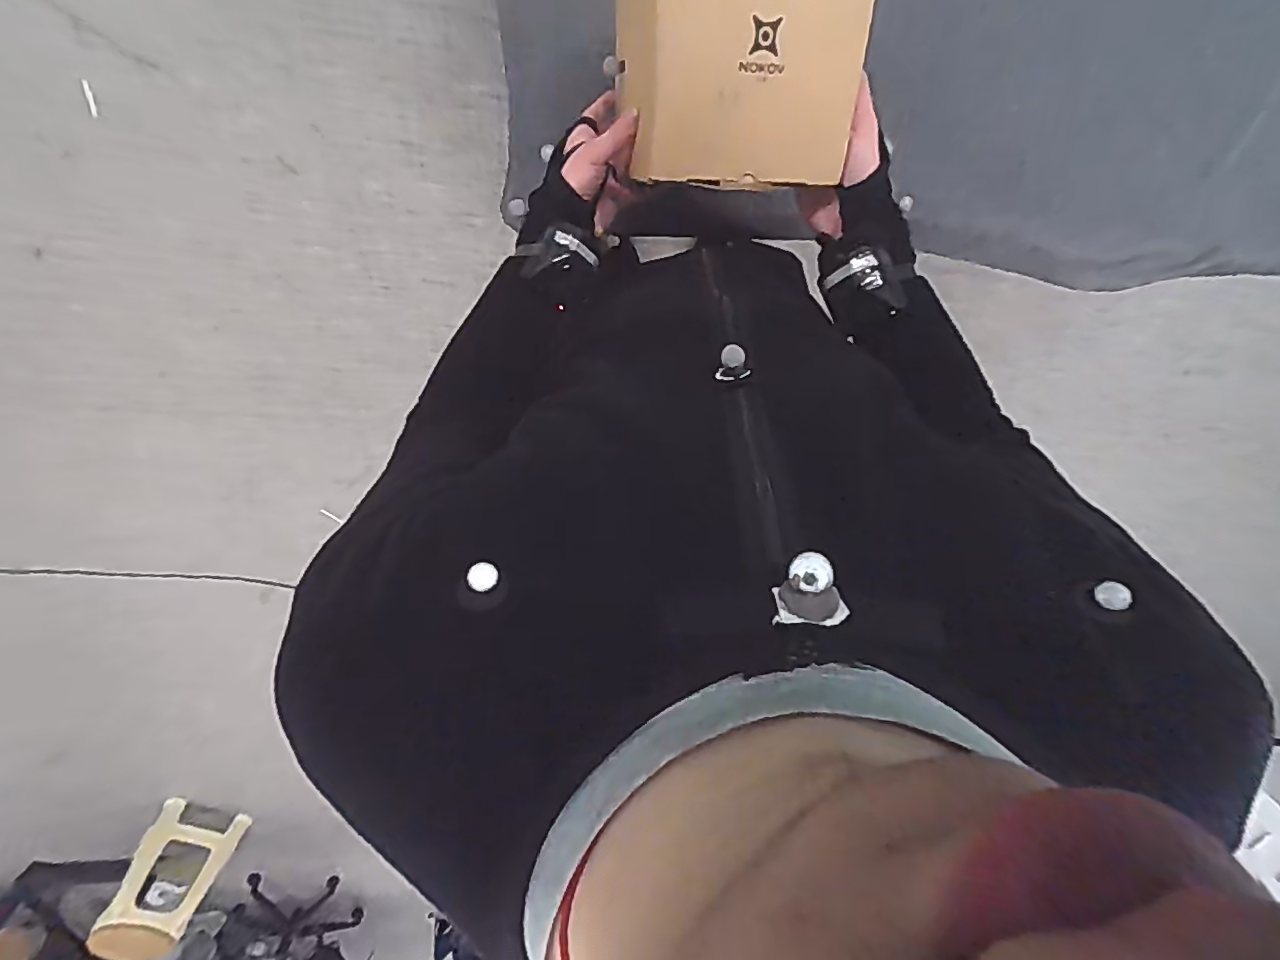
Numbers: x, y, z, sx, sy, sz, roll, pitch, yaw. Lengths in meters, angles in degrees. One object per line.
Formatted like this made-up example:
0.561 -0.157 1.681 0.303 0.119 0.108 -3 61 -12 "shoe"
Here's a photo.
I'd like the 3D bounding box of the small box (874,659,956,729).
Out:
1.007 0.787 1.996 0.179 0.176 0.168 14 117 -12 "small box"
